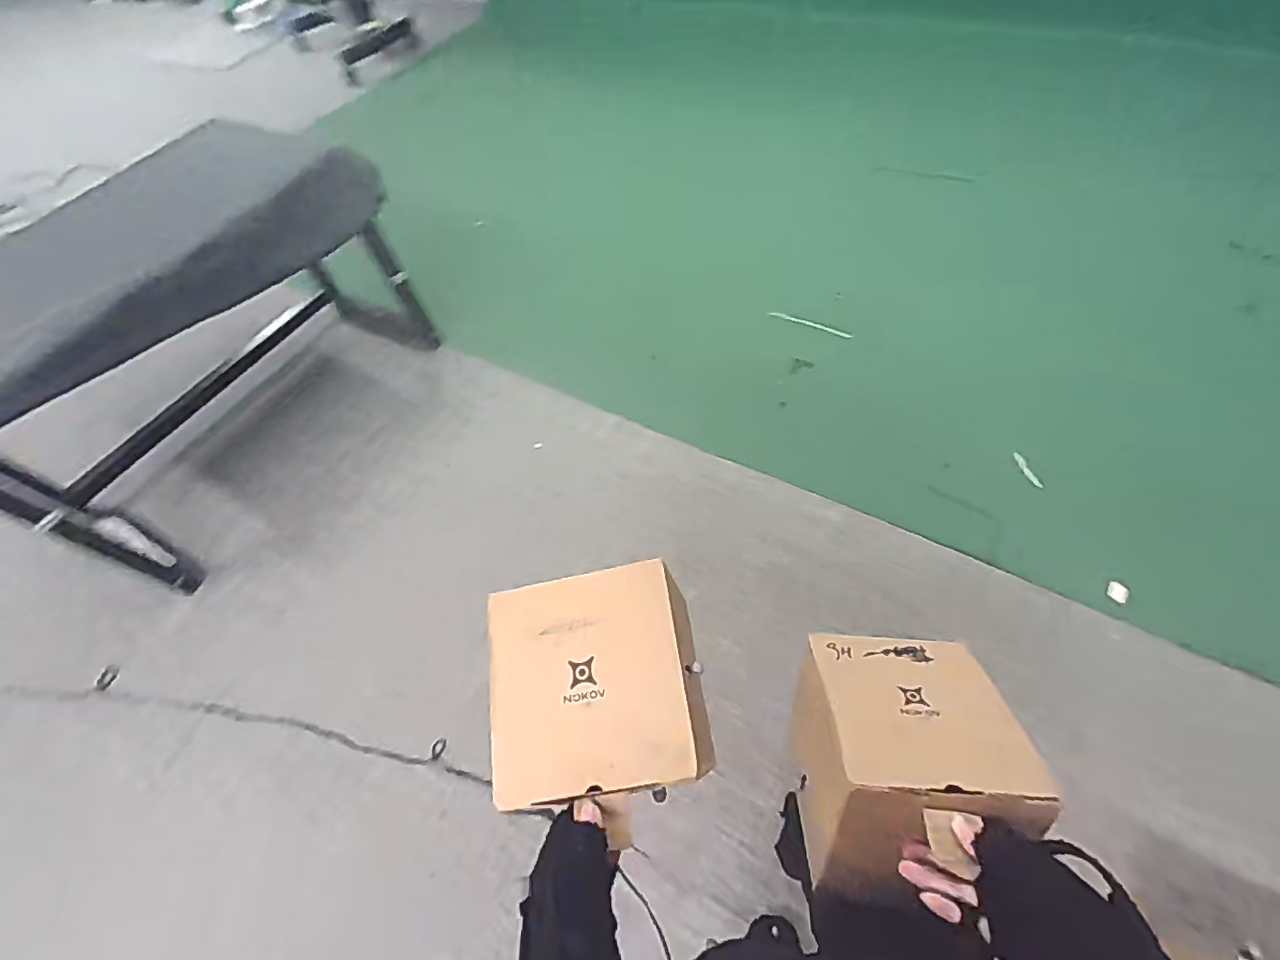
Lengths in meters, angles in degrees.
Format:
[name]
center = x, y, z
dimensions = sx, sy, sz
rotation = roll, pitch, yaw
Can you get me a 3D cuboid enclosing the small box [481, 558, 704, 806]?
[small box]
center = -0.039, 0.196, 0.531
dimensions = 0.168, 0.176, 0.179
rotation = -14, 64, 6
